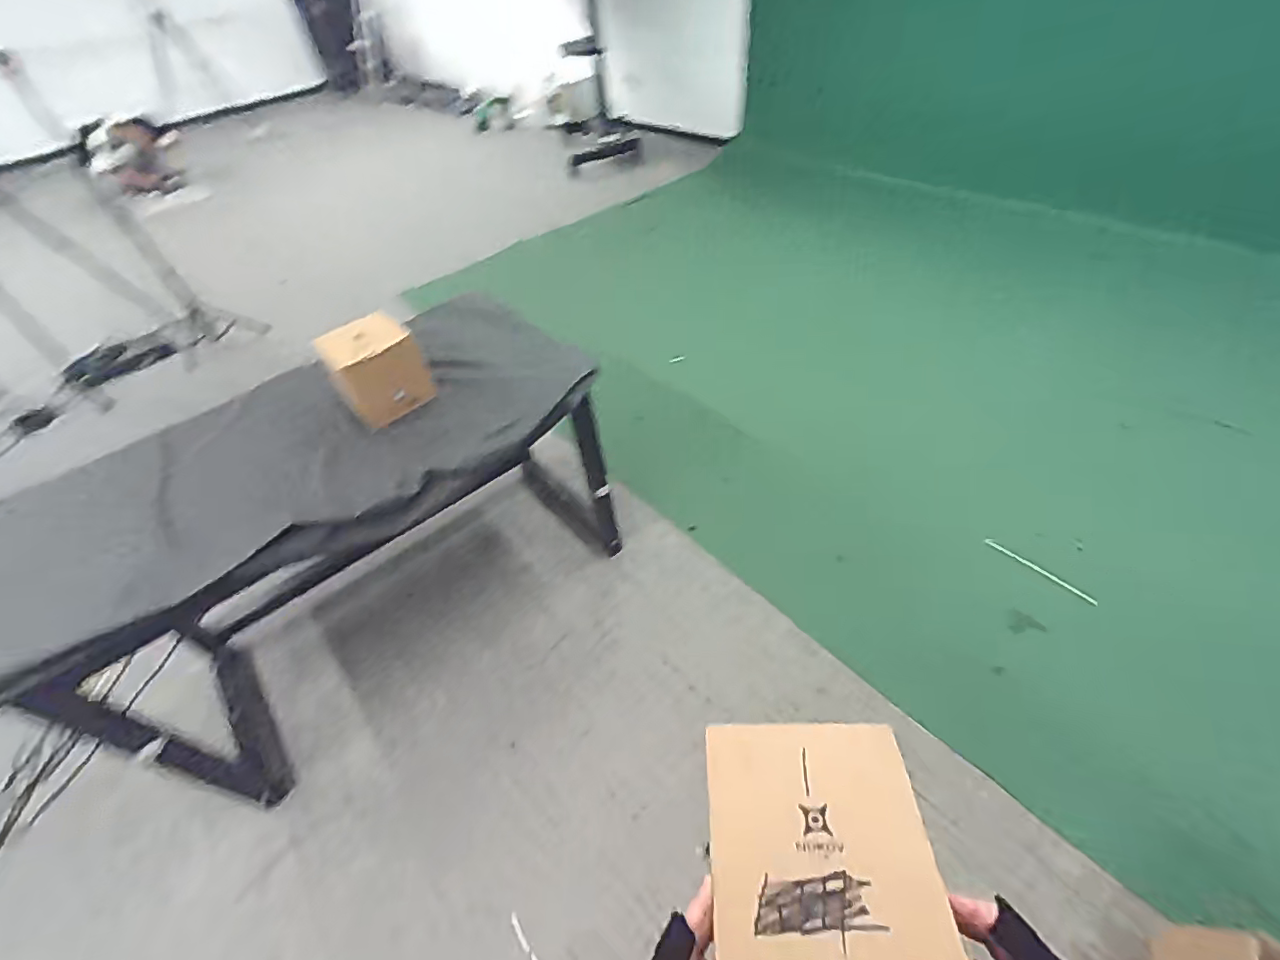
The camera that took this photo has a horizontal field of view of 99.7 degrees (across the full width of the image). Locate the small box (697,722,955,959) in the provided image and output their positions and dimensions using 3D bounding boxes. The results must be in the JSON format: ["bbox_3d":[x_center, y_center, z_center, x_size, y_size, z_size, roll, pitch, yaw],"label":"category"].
[{"bbox_3d":[0.137,0.334,0.465,0.168,0.176,0.179,-3,37,6],"label":"small box"}]

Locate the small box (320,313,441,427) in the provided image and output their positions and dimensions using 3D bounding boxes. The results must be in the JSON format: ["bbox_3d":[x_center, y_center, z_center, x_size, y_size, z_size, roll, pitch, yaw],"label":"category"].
[{"bbox_3d":[-0.591,-0.251,1.243,0.168,0.176,0.179,-36,52,-23],"label":"small box"}]
